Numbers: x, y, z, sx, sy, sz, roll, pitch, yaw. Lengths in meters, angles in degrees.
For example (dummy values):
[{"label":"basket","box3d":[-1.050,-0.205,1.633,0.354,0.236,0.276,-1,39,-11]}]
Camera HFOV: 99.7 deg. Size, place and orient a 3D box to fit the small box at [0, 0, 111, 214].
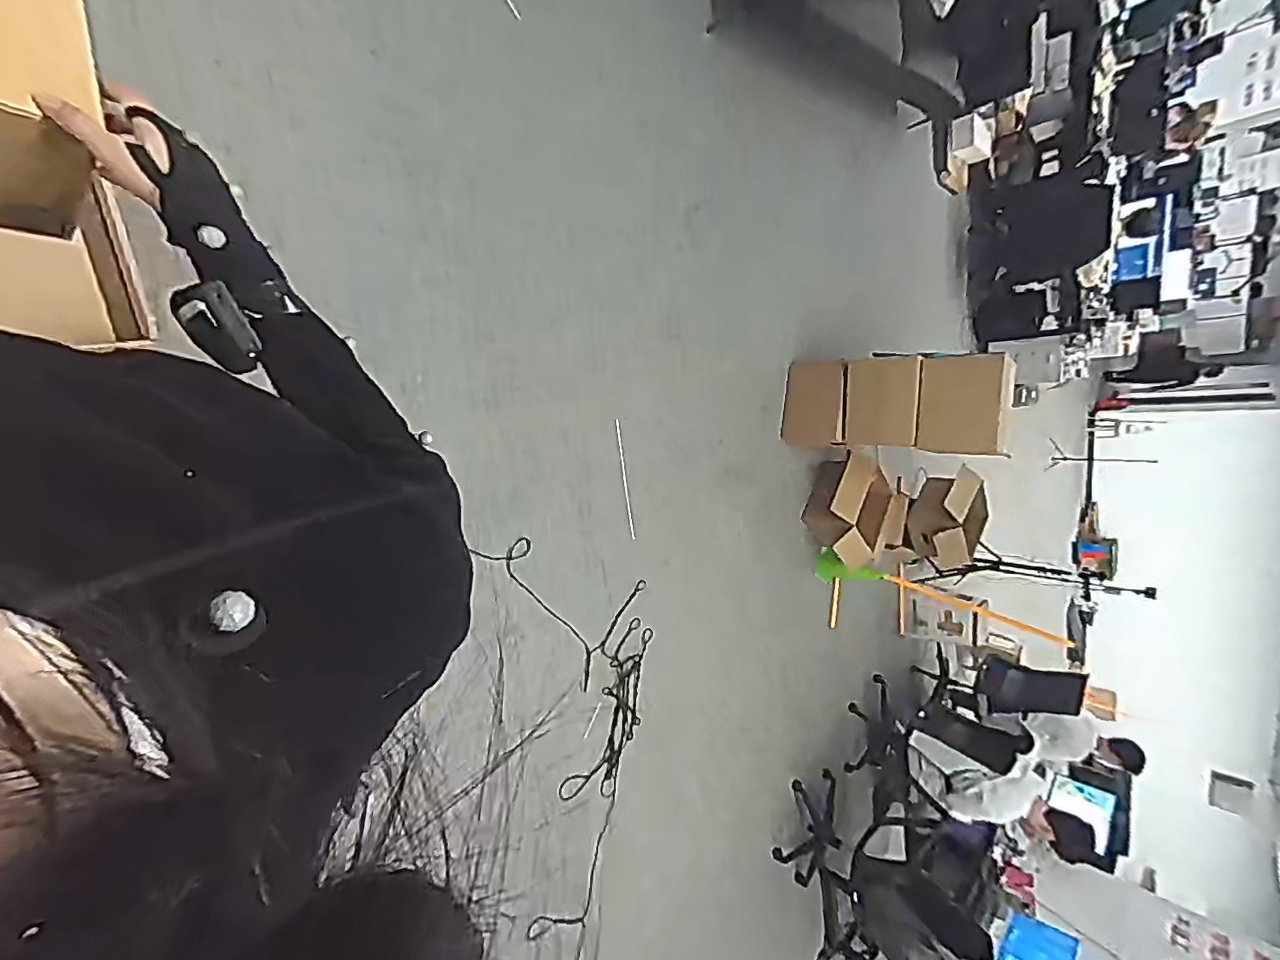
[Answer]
[{"label":"small box","box3d":[-0.519,-0.316,0.378,0.179,0.176,0.168,-10,87,-53]}]
